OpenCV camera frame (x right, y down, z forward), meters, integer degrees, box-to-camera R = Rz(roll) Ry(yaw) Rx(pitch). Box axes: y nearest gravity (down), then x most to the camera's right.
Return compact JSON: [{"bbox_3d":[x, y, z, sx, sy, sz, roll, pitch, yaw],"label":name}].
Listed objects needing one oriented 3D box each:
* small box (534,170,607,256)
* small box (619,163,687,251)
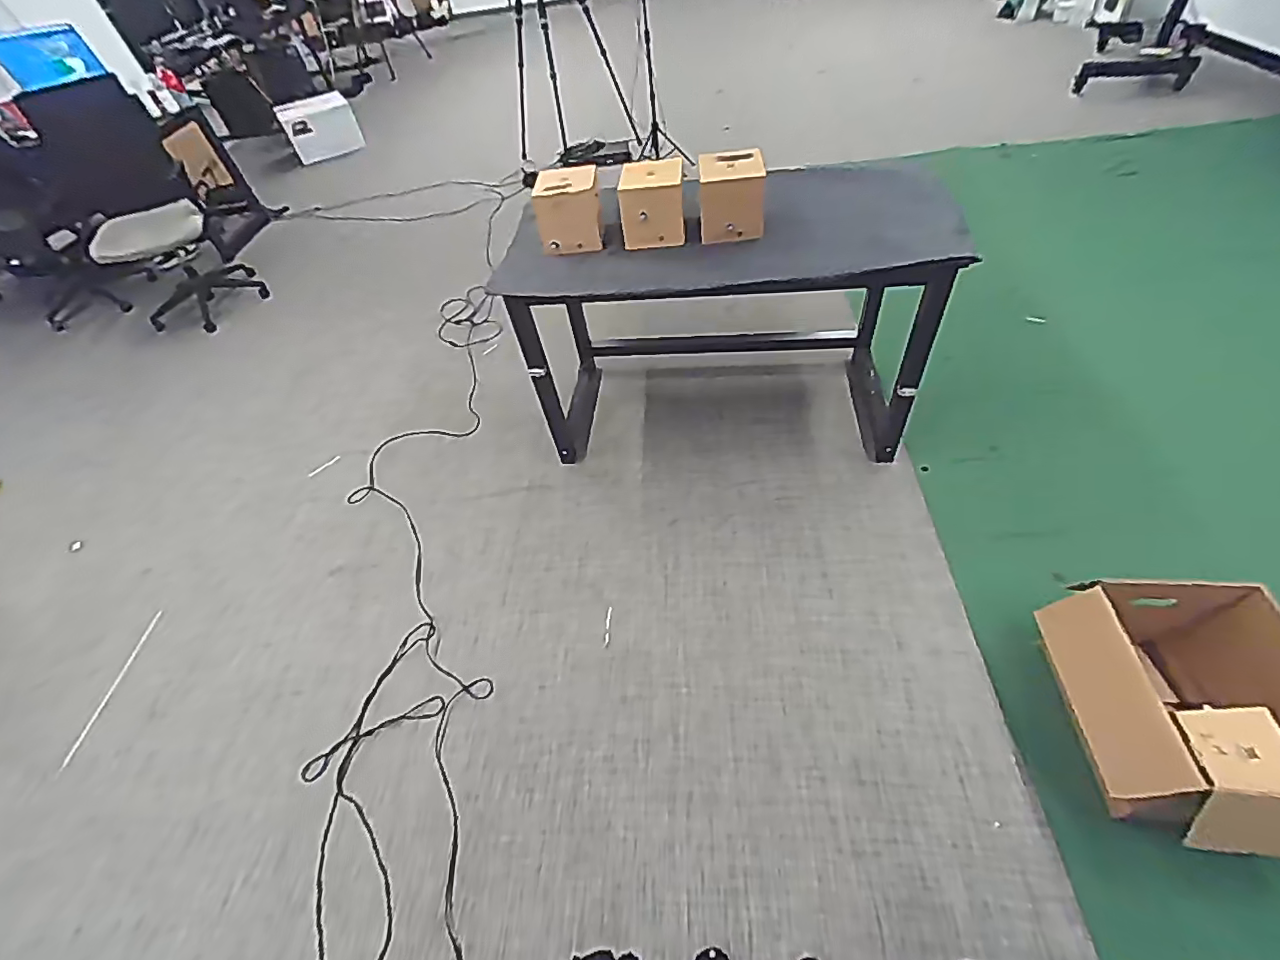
[{"bbox_3d":[-0.191,-0.756,1.546,0.168,0.176,0.179,-4,48,6],"label":"small box"},{"bbox_3d":[0.043,-0.756,1.511,0.168,0.176,0.179,-1,49,8],"label":"small box"}]
